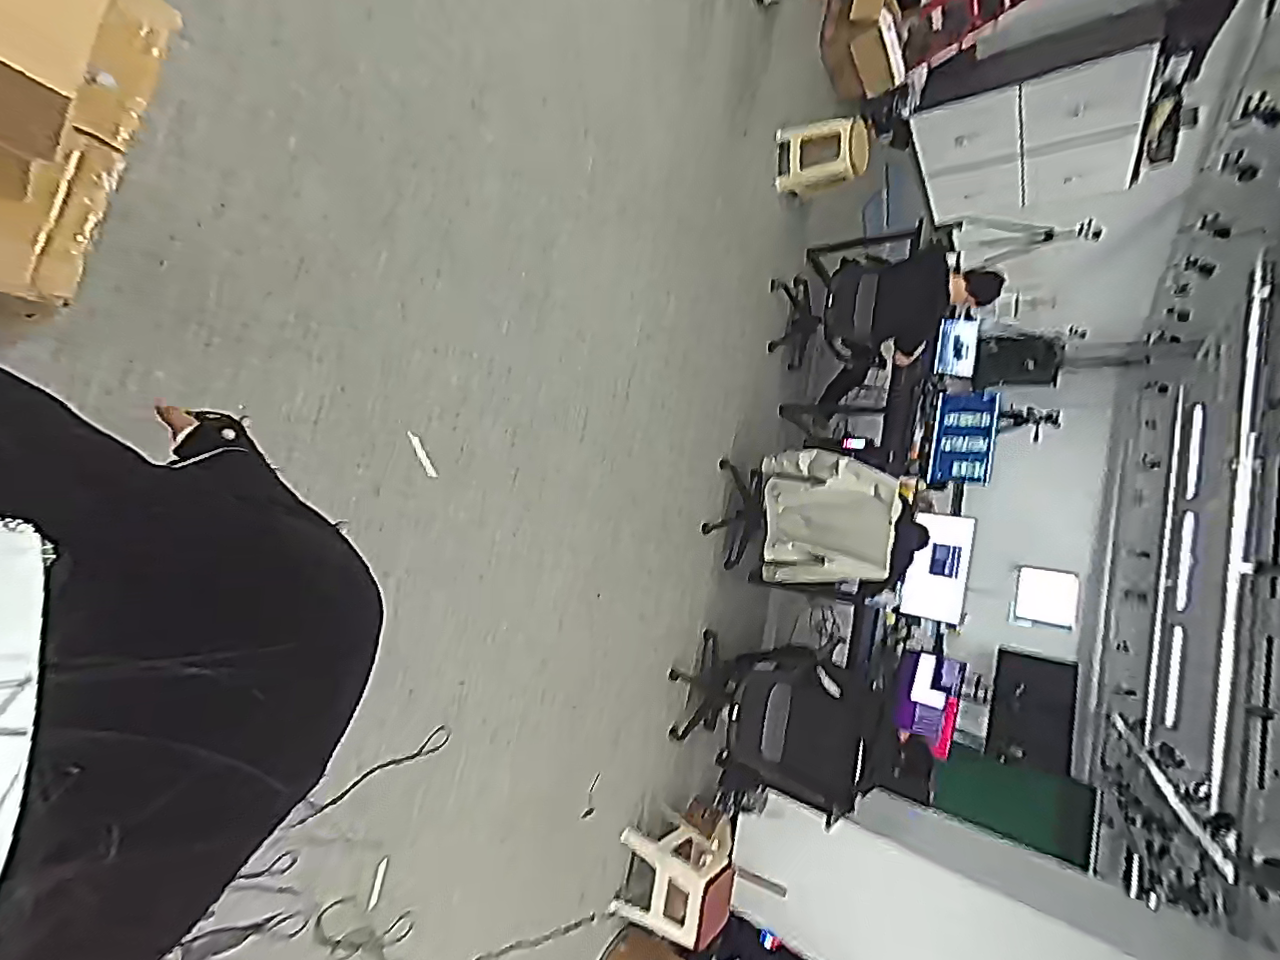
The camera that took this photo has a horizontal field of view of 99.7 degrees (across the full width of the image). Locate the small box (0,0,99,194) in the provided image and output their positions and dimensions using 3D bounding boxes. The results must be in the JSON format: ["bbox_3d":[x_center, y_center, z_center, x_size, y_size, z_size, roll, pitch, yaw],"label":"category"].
[{"bbox_3d":[-0.640,-0.400,0.489,0.168,0.176,0.179,20,81,-50],"label":"small box"}]
